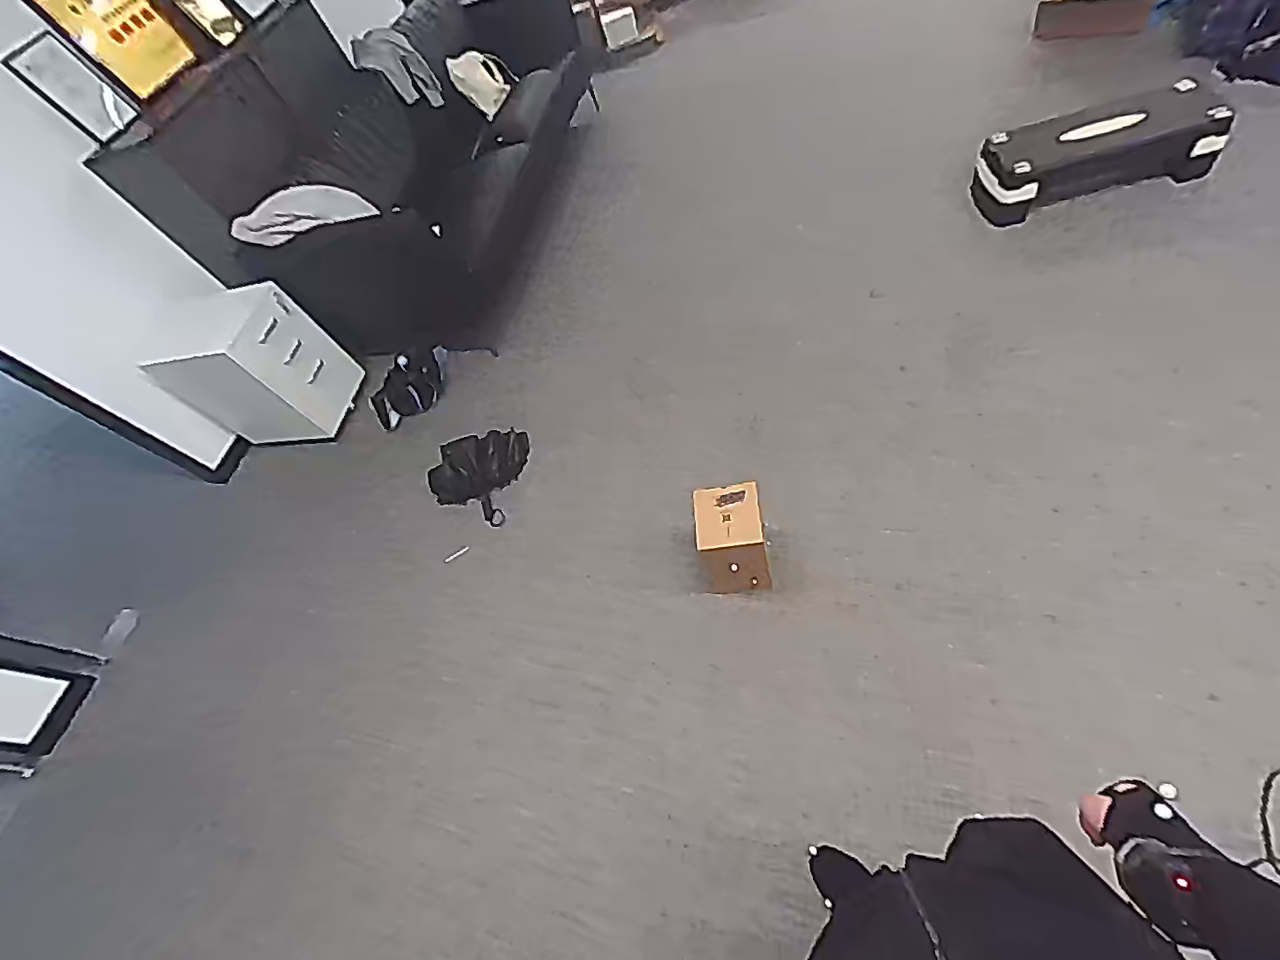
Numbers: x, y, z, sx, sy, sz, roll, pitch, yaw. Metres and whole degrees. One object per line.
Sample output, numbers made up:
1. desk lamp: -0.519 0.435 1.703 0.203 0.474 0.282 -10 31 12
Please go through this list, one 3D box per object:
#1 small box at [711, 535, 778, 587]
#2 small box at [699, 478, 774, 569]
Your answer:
1. small box: 0.299 0.199 1.564 0.168 0.176 0.179 -10 55 14
2. small box: 0.255 0.119 1.427 0.168 0.176 0.179 -9 58 15
